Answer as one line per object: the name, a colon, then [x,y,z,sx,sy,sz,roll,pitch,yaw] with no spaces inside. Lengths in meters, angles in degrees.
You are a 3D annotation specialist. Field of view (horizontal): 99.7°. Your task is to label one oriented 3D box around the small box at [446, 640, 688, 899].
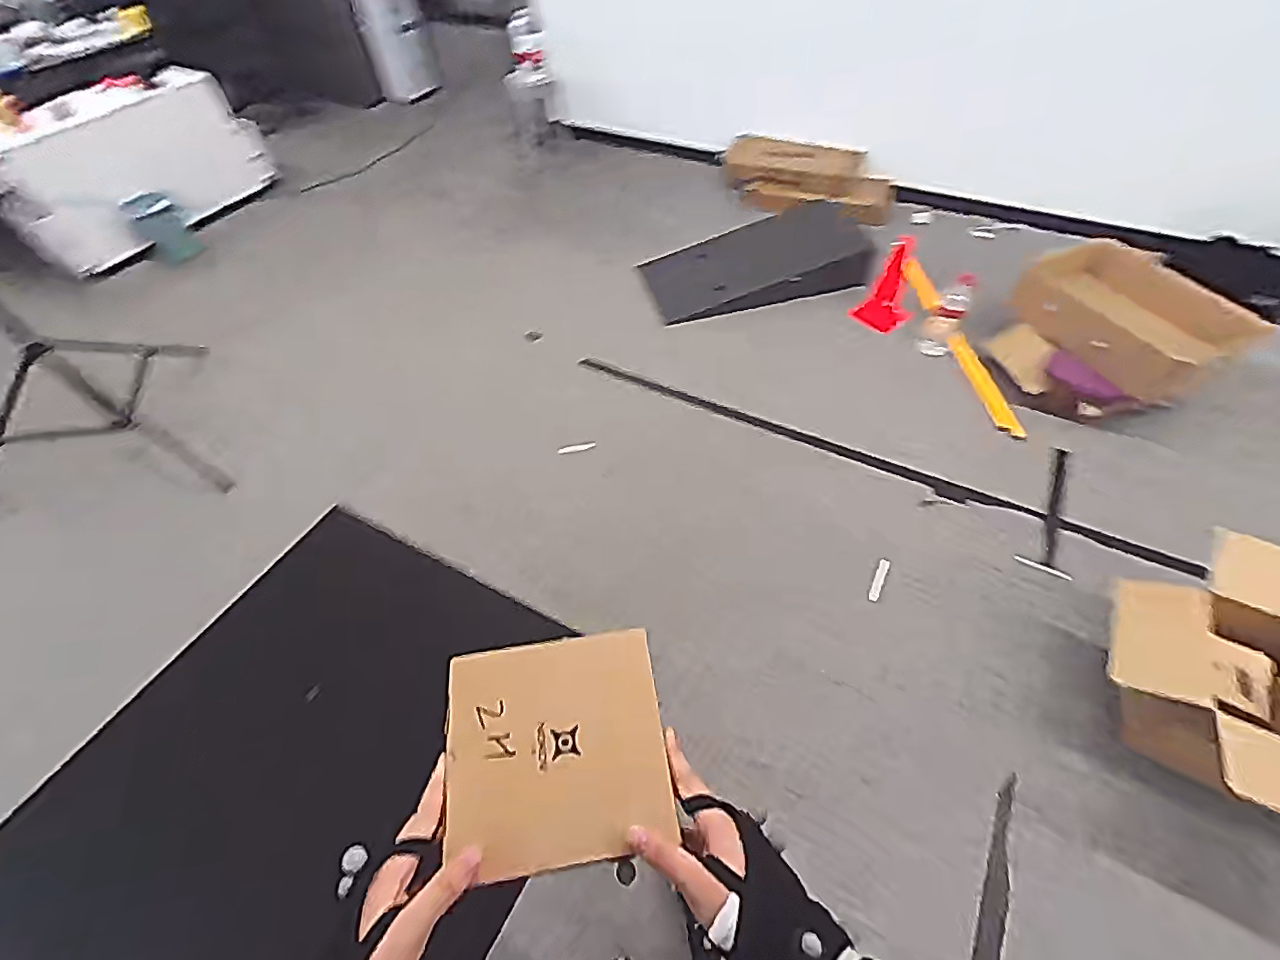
small box: [-0.061,0.263,0.495,0.179,0.176,0.168,-8,54,-4]
